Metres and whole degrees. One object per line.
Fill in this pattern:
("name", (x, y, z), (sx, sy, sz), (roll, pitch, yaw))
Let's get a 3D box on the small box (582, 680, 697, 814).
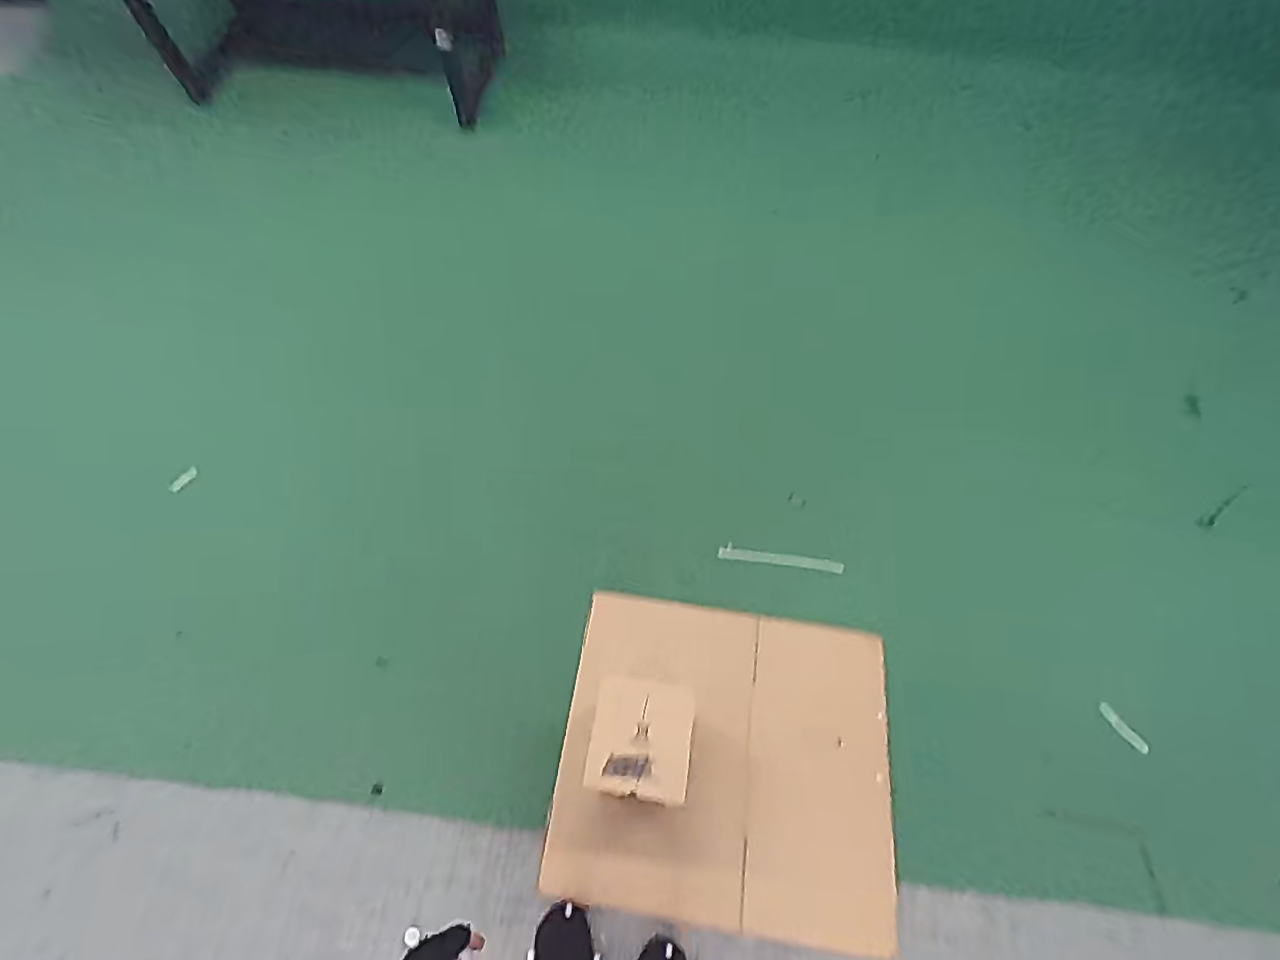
("small box", (0.004, 0.466, 0.948), (0.168, 0.176, 0.179), (8, 61, 5))
